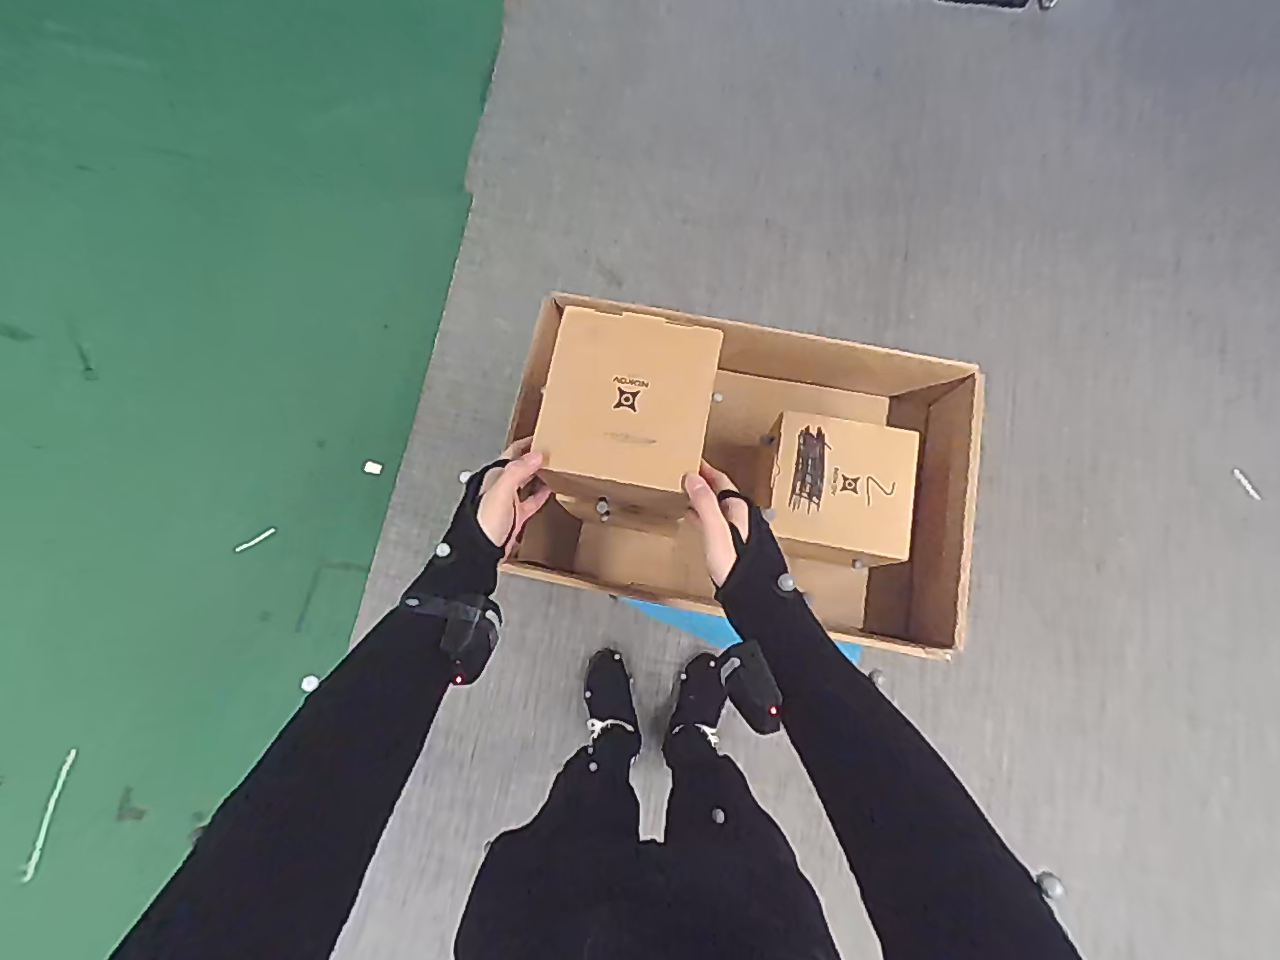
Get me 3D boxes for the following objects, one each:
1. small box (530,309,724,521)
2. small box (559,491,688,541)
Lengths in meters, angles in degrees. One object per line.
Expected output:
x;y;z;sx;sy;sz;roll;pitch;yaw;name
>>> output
-0.010;-0.062;0.612;0.168;0.176;0.179;11;78;4;small box
-0.005;-0.021;0.769;0.168;0.176;0.179;11;77;4;small box
